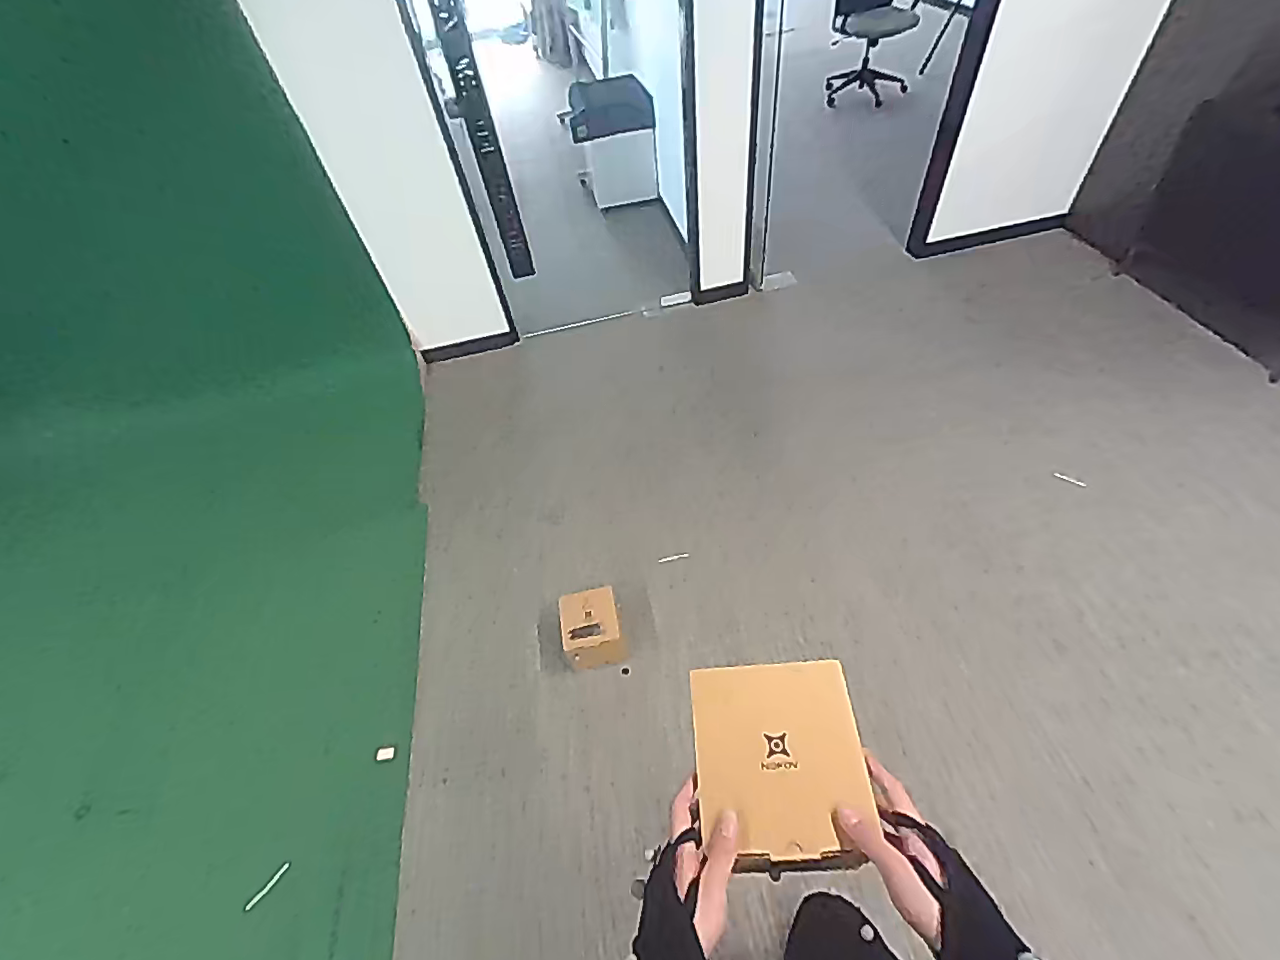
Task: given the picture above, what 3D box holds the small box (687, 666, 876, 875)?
[{"bbox_3d":[0.142,0.327,0.605,0.168,0.176,0.179,-6,51,6],"label":"small box"}]
